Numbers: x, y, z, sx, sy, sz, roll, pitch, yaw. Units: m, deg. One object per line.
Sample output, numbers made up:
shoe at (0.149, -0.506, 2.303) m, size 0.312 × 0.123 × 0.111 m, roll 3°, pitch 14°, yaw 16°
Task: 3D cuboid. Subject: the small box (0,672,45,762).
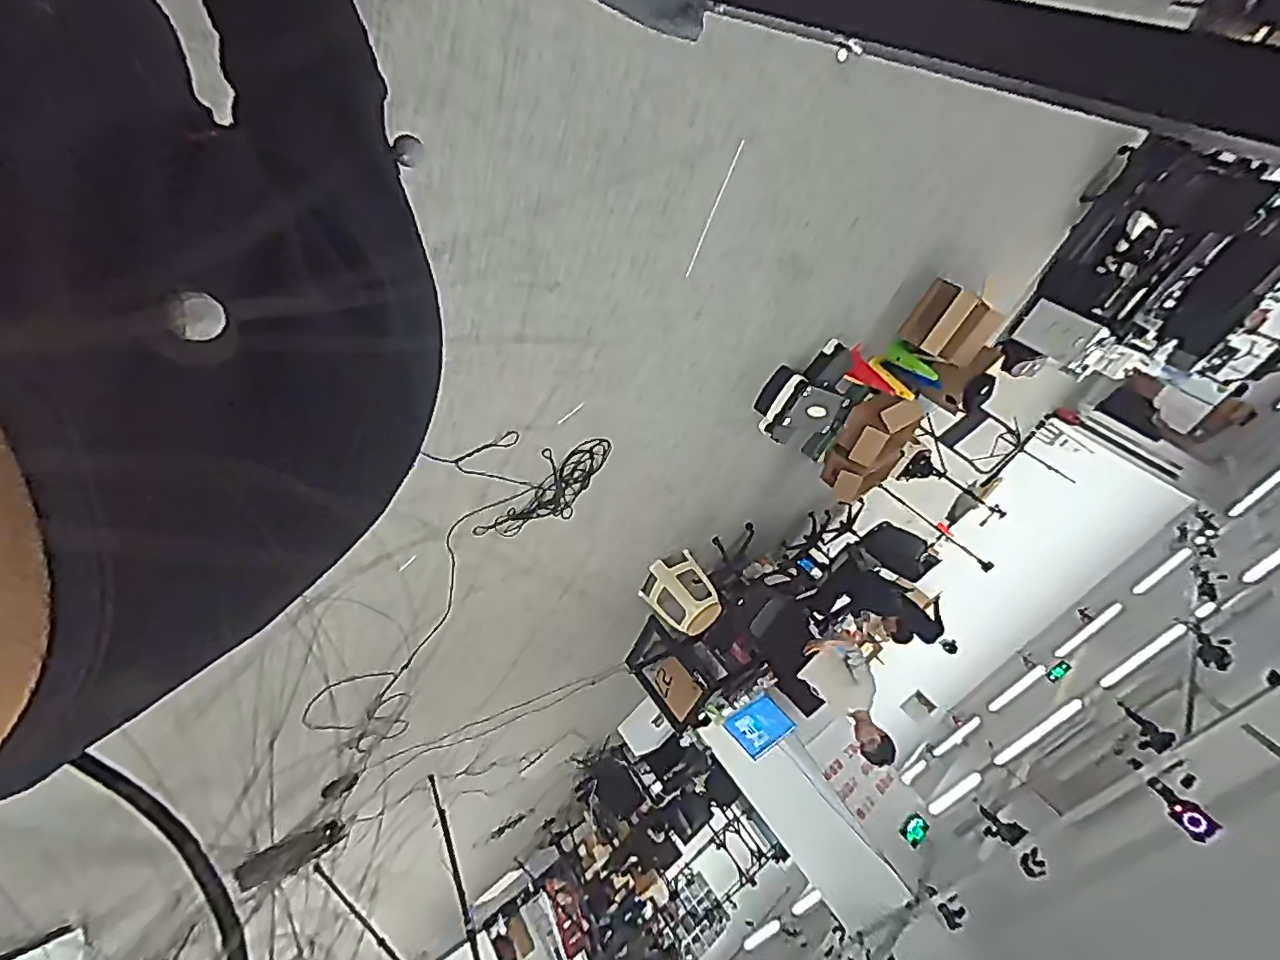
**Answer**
small box at (-1.732, 0.638, 1.437) m, size 0.168 × 0.176 × 0.179 m, roll -15°, pitch 139°, yaw -38°
